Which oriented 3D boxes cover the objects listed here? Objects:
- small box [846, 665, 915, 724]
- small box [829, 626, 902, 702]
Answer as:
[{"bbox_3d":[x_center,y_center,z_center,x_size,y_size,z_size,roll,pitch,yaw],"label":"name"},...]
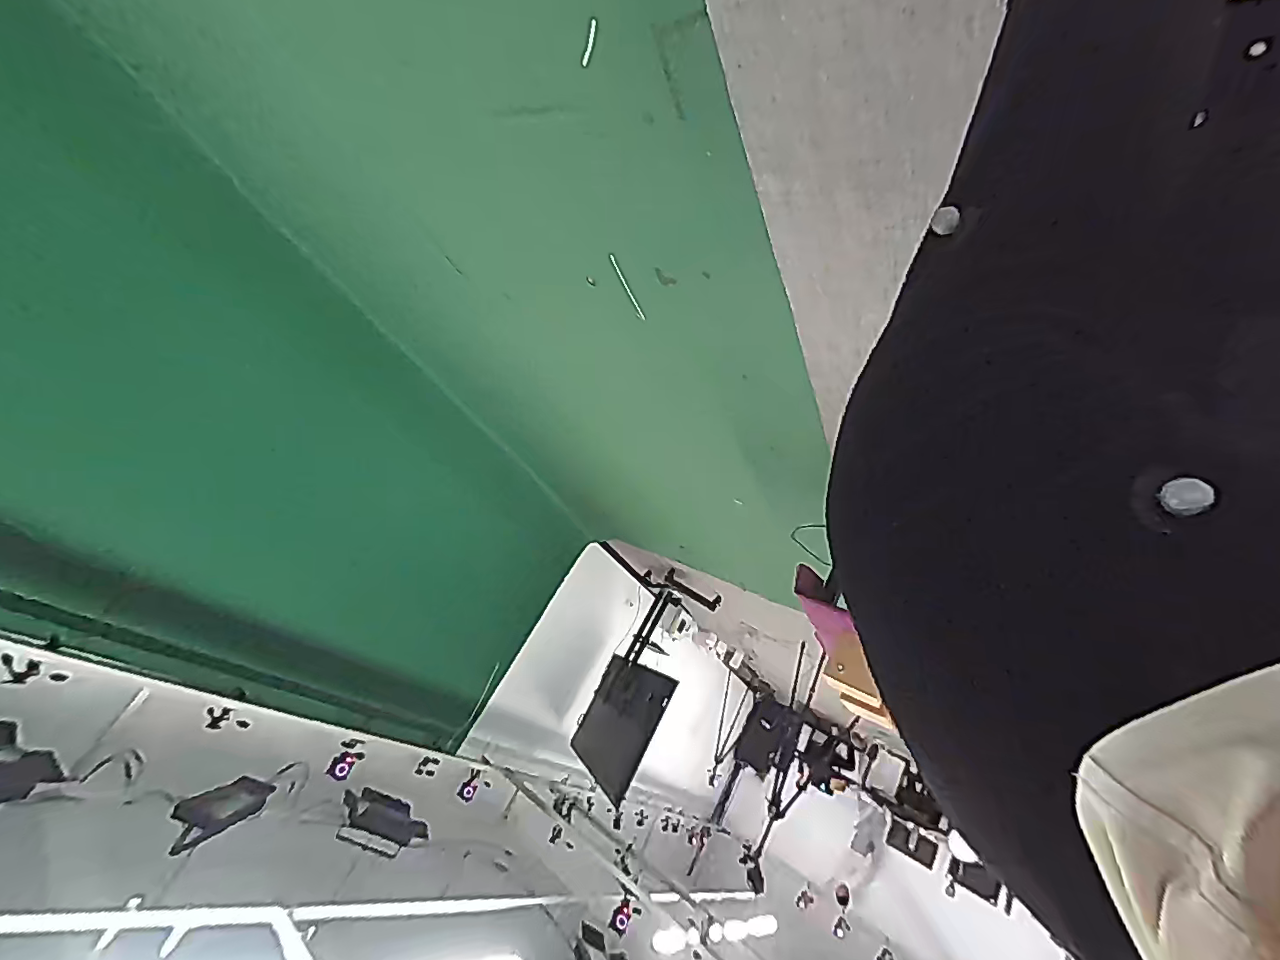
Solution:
[{"bbox_3d":[0.898,0.773,2.015,0.179,0.176,0.168,11,153,42],"label":"small box"},{"bbox_3d":[0.749,0.602,1.791,0.179,0.176,0.168,17,159,34],"label":"small box"}]
